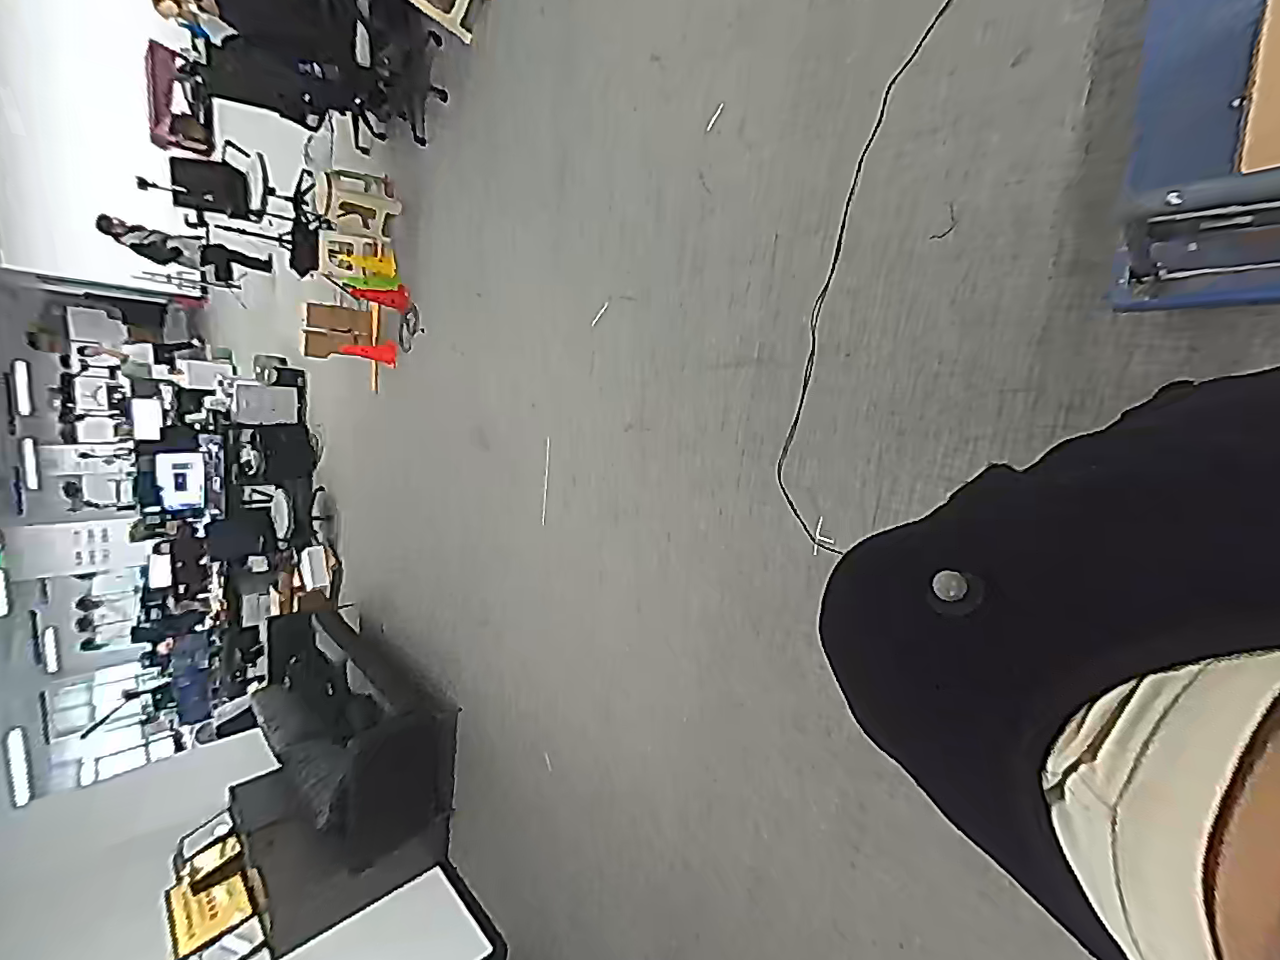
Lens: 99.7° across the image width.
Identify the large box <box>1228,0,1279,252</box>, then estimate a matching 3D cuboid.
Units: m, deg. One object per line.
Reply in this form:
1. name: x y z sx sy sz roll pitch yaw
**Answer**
1. large box: 1.101 -0.600 0.777 0.320 0.320 0.408 8 97 43
